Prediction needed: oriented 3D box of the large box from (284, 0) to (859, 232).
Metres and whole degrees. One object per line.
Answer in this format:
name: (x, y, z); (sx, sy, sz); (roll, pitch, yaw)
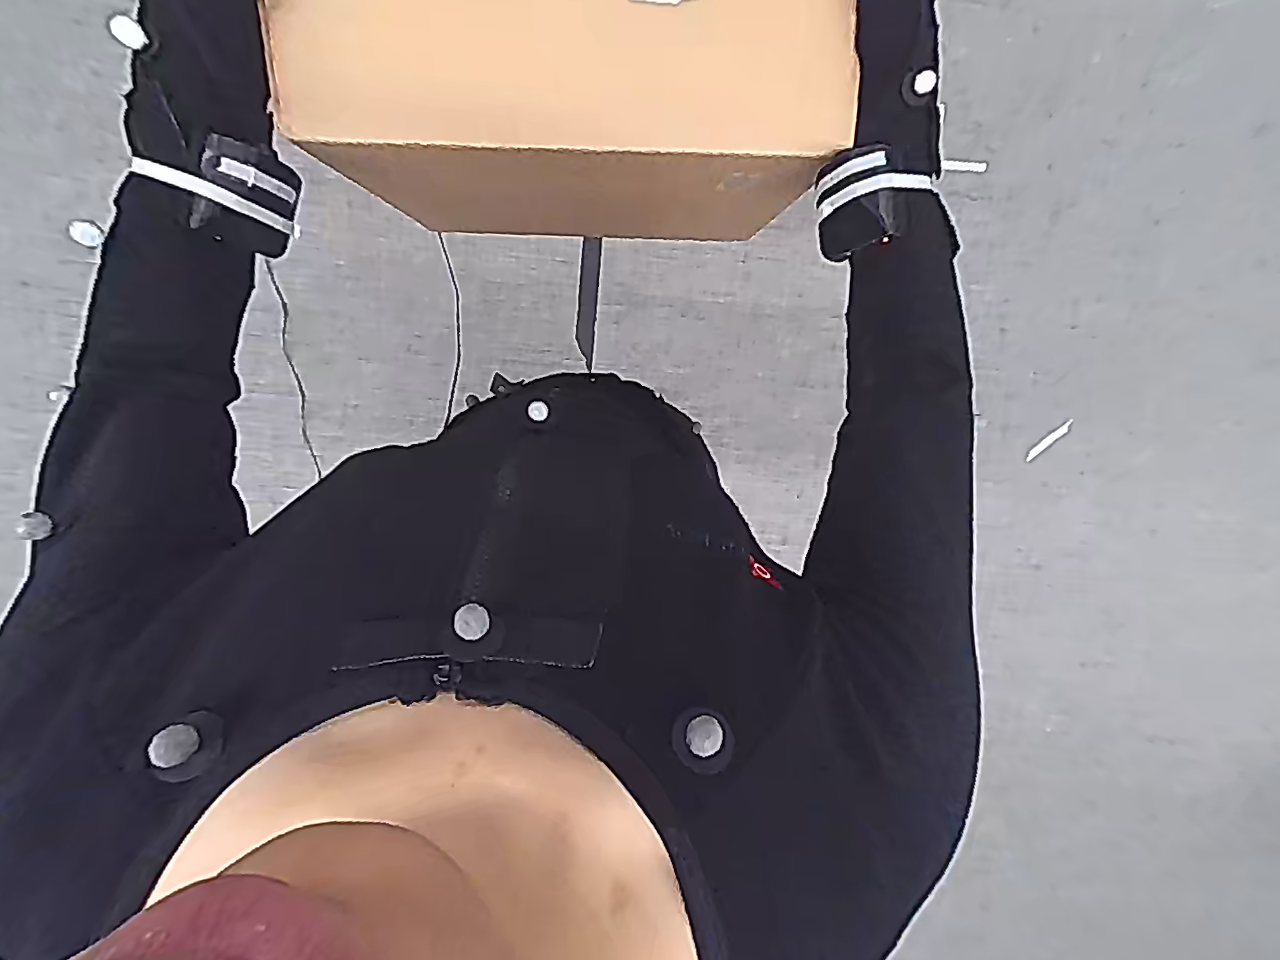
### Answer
large box: (-0.050, -0.429, 0.502); (0.408, 0.320, 0.320); (0, 104, -3)
